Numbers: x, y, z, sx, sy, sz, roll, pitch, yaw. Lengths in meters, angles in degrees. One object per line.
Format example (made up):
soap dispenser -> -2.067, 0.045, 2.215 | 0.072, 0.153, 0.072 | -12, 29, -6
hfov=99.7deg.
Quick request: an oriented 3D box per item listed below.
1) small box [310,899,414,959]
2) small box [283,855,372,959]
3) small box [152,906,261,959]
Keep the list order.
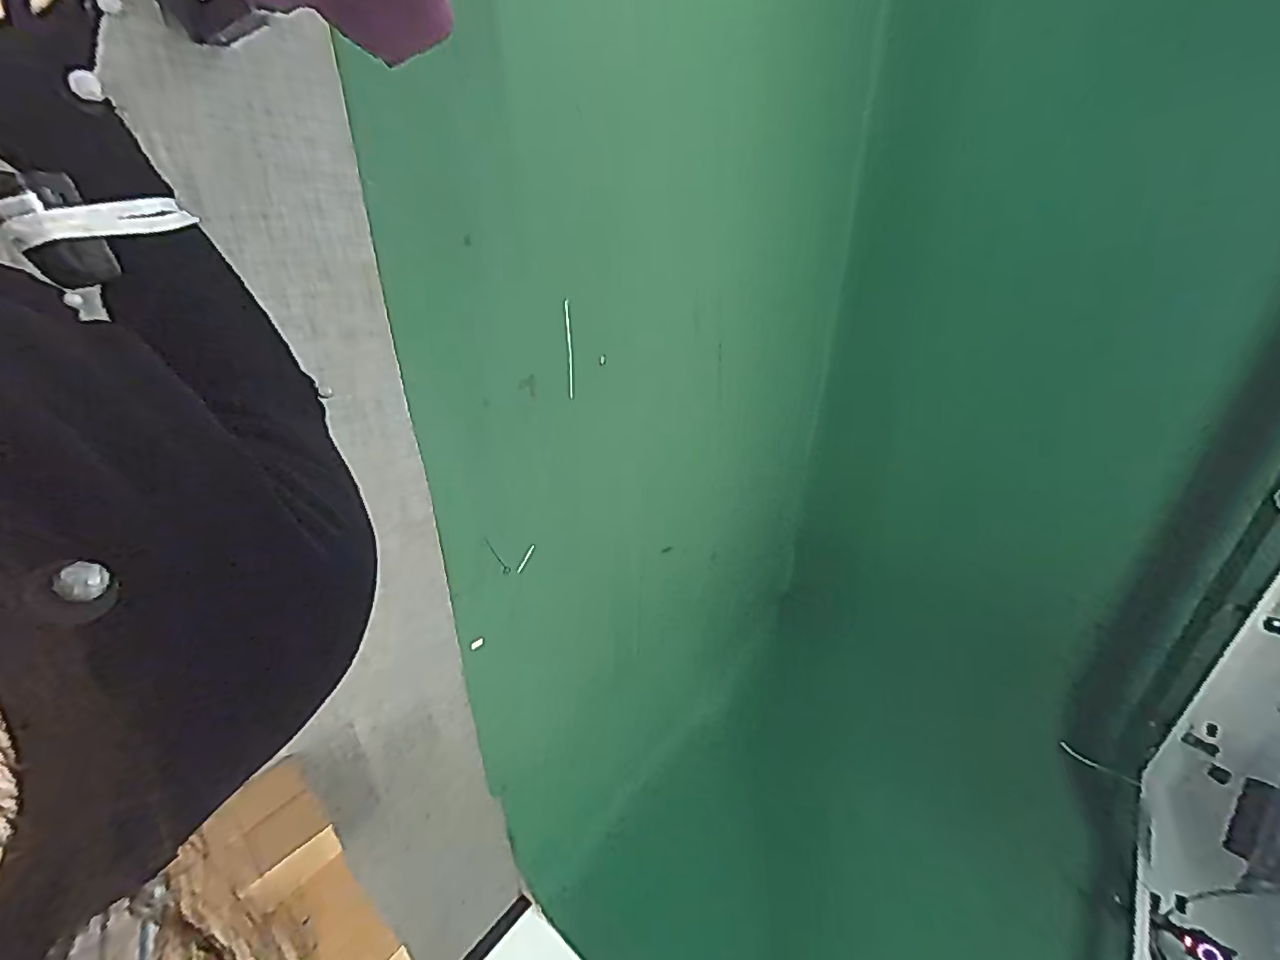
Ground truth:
small box -> -0.712, 1.245, 1.393 | 0.179, 0.176, 0.168 | -30, 133, -41
small box -> -0.841, 1.191, 1.478 | 0.179, 0.176, 0.168 | -32, 134, -41
small box -> -0.989, 1.151, 1.251 | 0.168, 0.176, 0.179 | -25, 128, -44
